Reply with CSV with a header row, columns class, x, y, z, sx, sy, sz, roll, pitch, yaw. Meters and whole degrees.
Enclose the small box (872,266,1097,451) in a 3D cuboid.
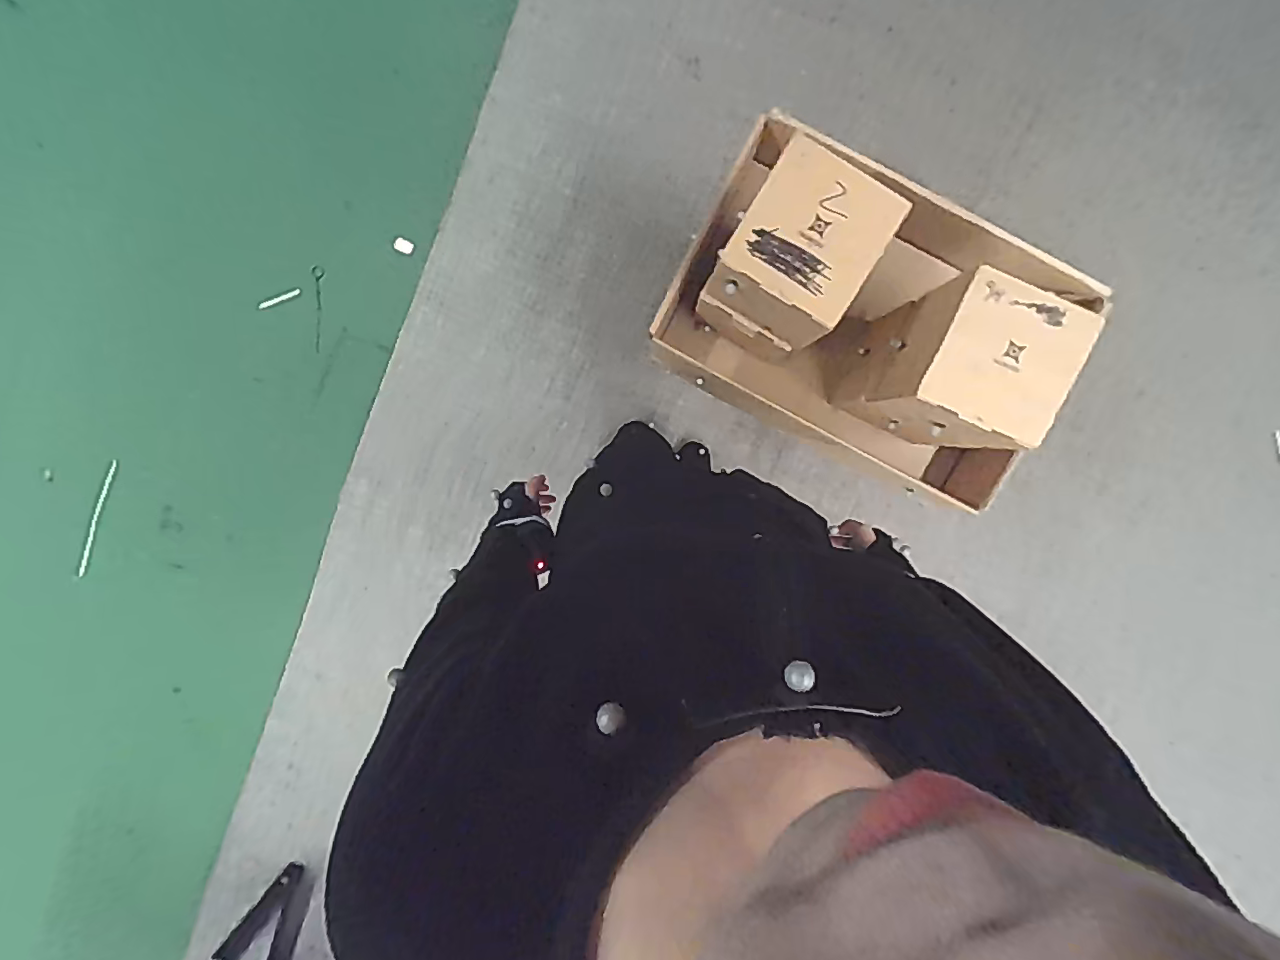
class,x,y,z,sx,sy,sz,roll,pitch,yaw
small box,0.446,-0.155,0.739,0.168,0.176,0.179,25,97,-1
